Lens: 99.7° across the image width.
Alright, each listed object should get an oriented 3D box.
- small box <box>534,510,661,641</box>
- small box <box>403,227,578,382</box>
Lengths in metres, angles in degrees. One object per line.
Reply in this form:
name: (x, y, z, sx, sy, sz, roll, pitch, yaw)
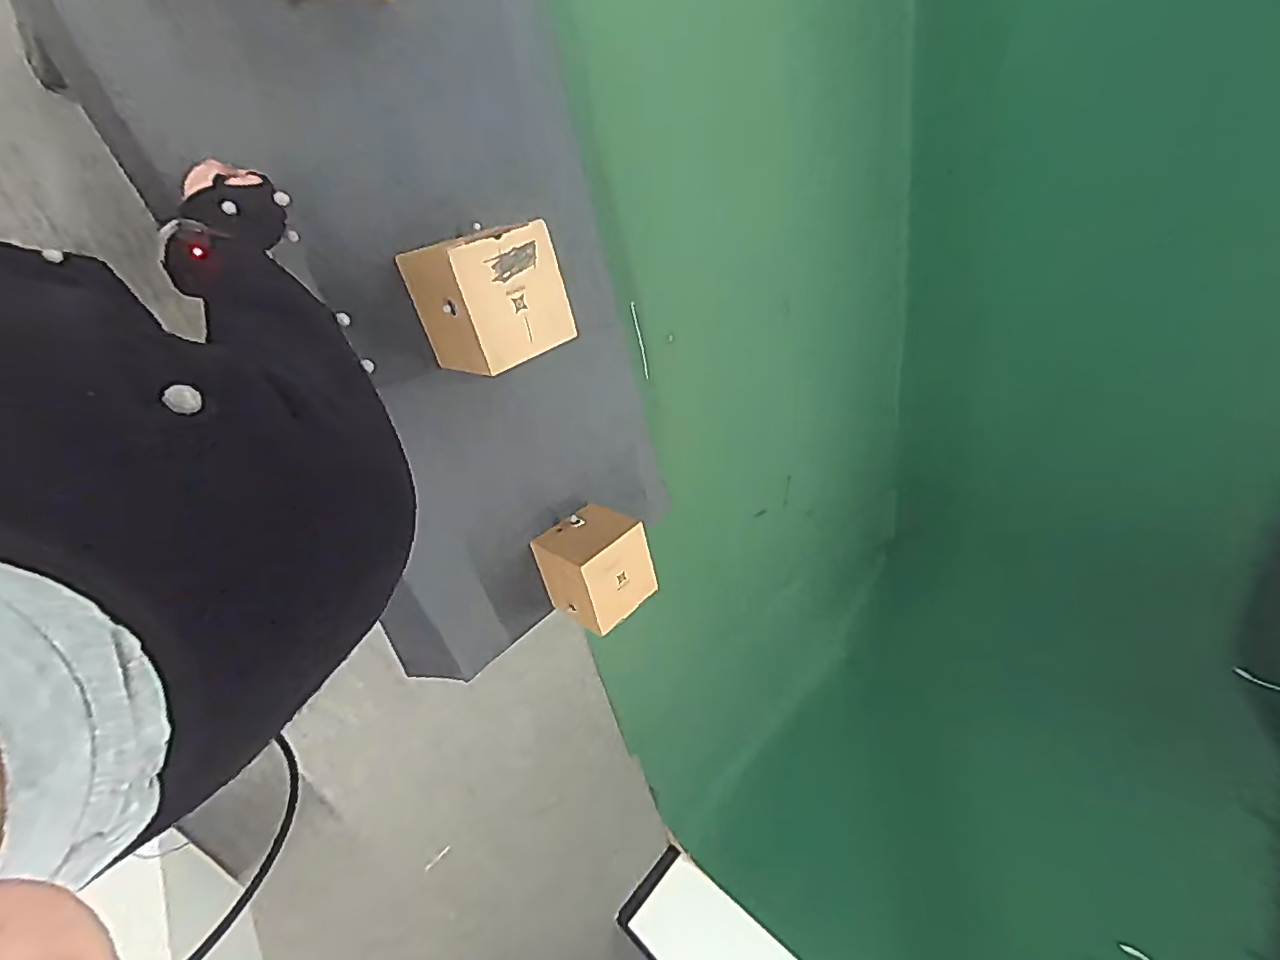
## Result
small box: (-0.086, 0.186, 1.103, 0.168, 0.176, 0.179, -36, 124, -34)
small box: (-0.227, -0.266, 0.820, 0.168, 0.176, 0.179, -36, 126, -32)
